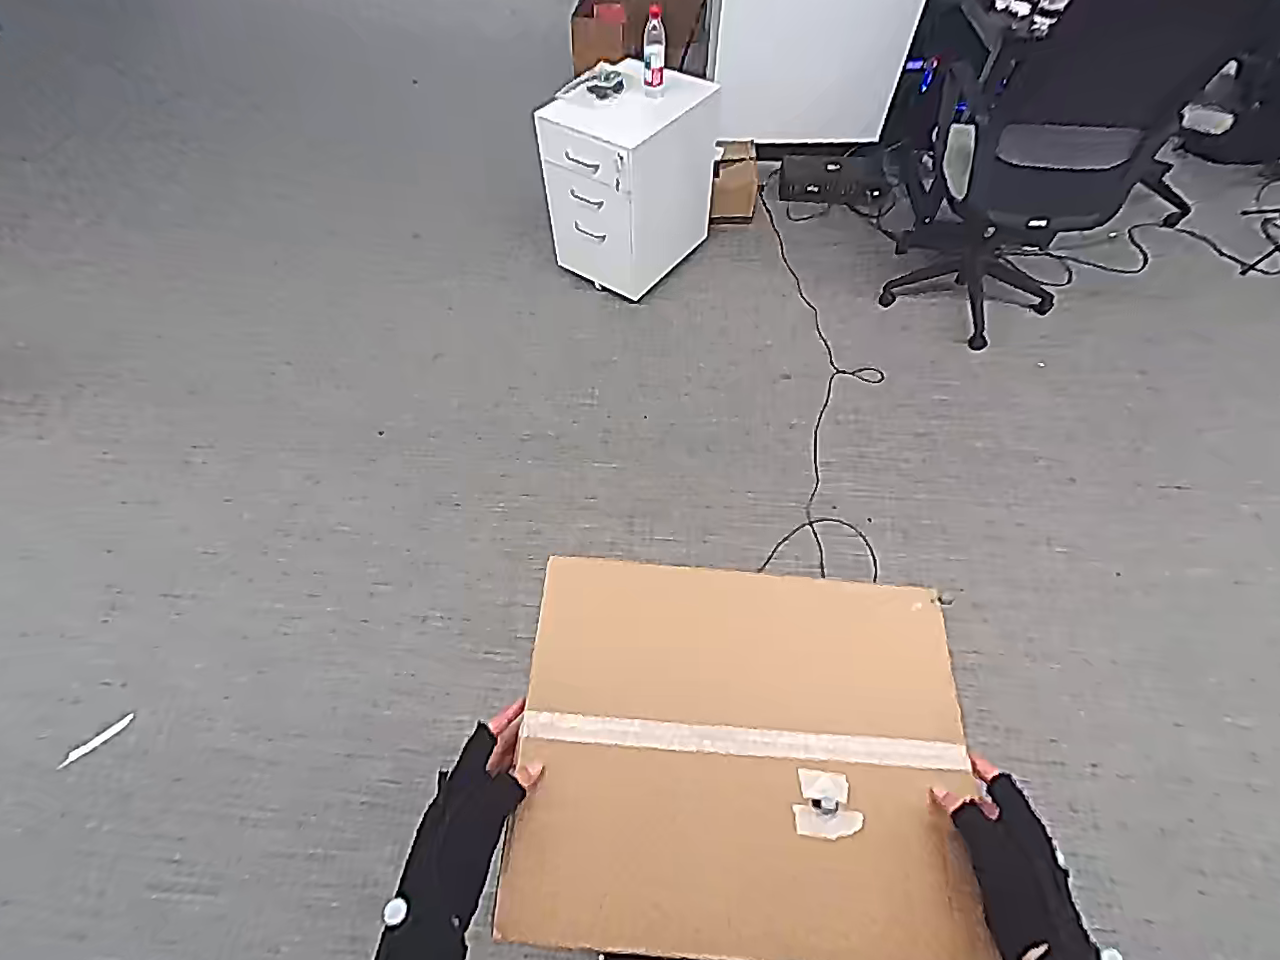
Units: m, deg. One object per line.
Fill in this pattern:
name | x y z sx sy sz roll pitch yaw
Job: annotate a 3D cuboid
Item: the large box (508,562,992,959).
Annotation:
large box | 0.089 0.303 0.631 0.408 0.320 0.320 5 64 -1
